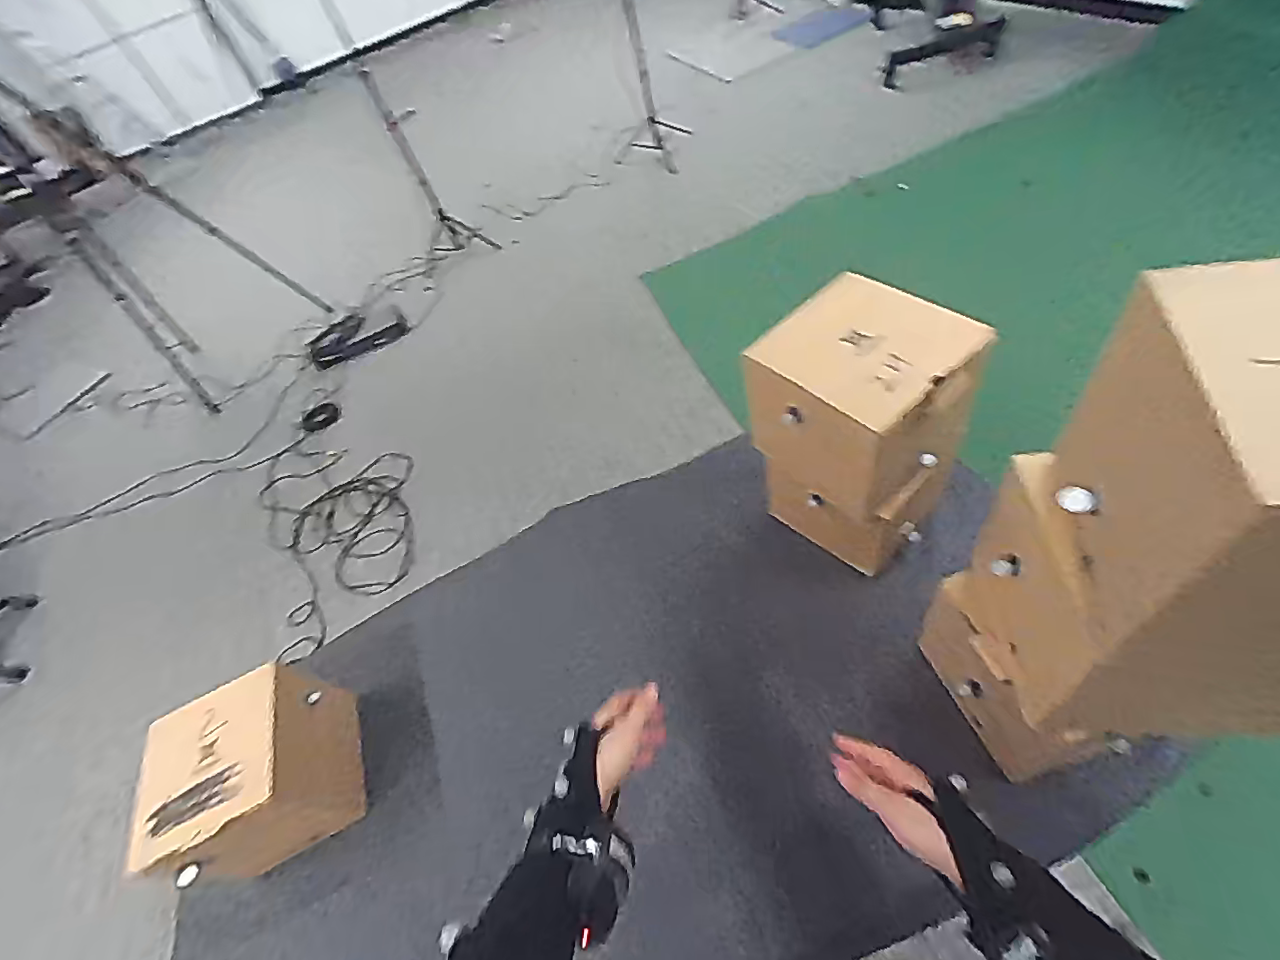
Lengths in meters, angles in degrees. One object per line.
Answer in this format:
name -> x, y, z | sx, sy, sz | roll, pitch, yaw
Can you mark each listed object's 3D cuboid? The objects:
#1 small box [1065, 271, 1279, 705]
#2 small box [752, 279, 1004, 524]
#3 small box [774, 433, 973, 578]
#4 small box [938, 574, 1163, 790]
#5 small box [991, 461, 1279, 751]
small box -> 0.361, 0.012, 0.276 | 0.179, 0.176, 0.168 | 3, 52, 21
small box -> 0.248, -0.084, 0.601 | 0.168, 0.176, 0.179 | -38, 54, -10
small box -> 0.303, 0.003, 0.732 | 0.168, 0.176, 0.179 | -44, 56, -14
small box -> 0.430, 0.188, 0.547 | 0.179, 0.176, 0.168 | -22, 48, 2
small box -> 0.396, 0.097, 0.415 | 0.179, 0.176, 0.168 | -4, 50, 14
